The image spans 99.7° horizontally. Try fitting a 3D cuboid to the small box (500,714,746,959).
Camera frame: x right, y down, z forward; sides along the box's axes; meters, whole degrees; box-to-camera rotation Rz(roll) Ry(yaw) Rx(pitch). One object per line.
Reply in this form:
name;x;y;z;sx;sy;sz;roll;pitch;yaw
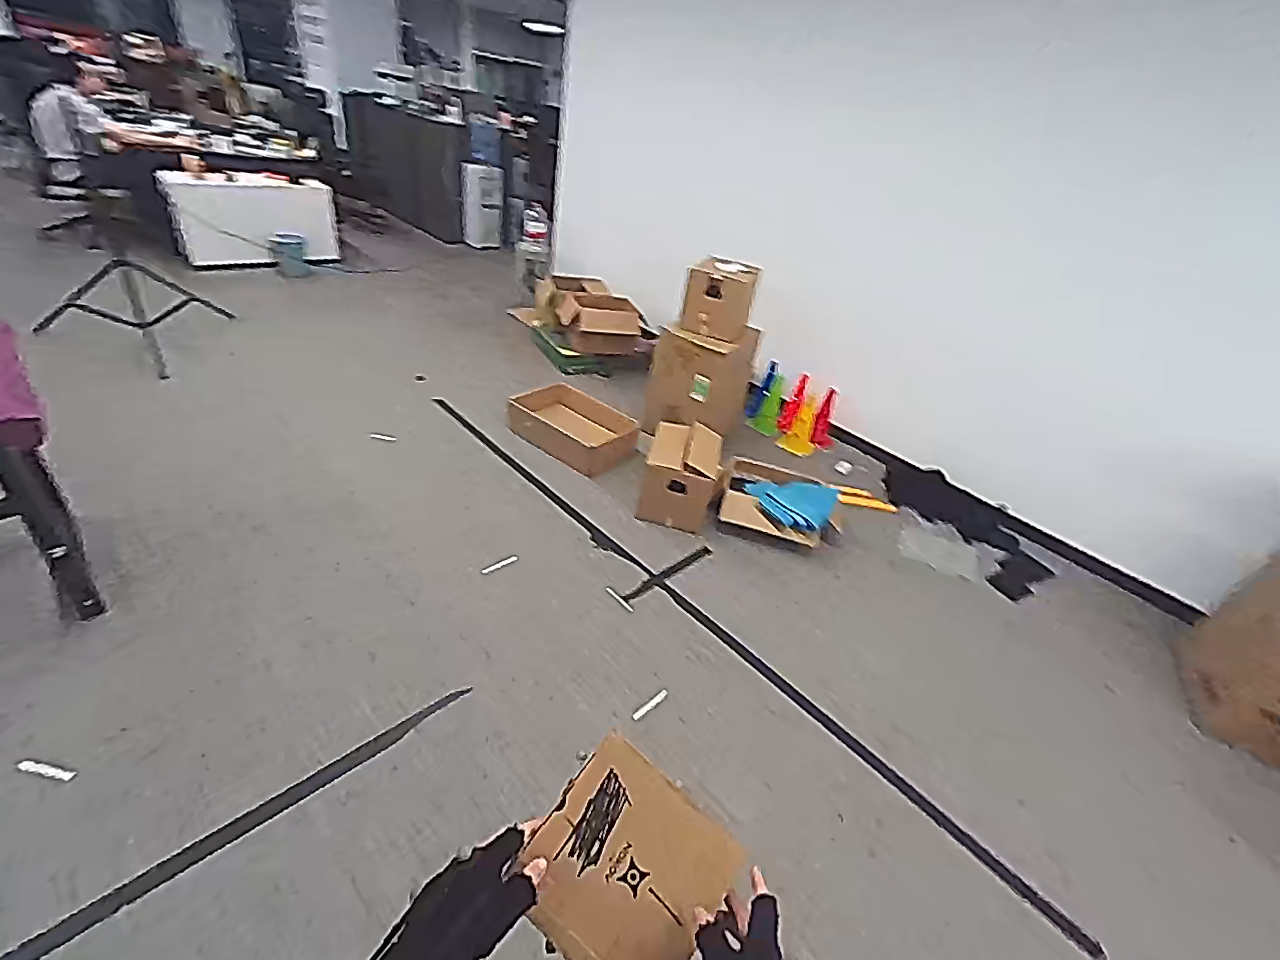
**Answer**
small box;-0.023;0.383;0.571;0.179;0.176;0.168;36;61;12
